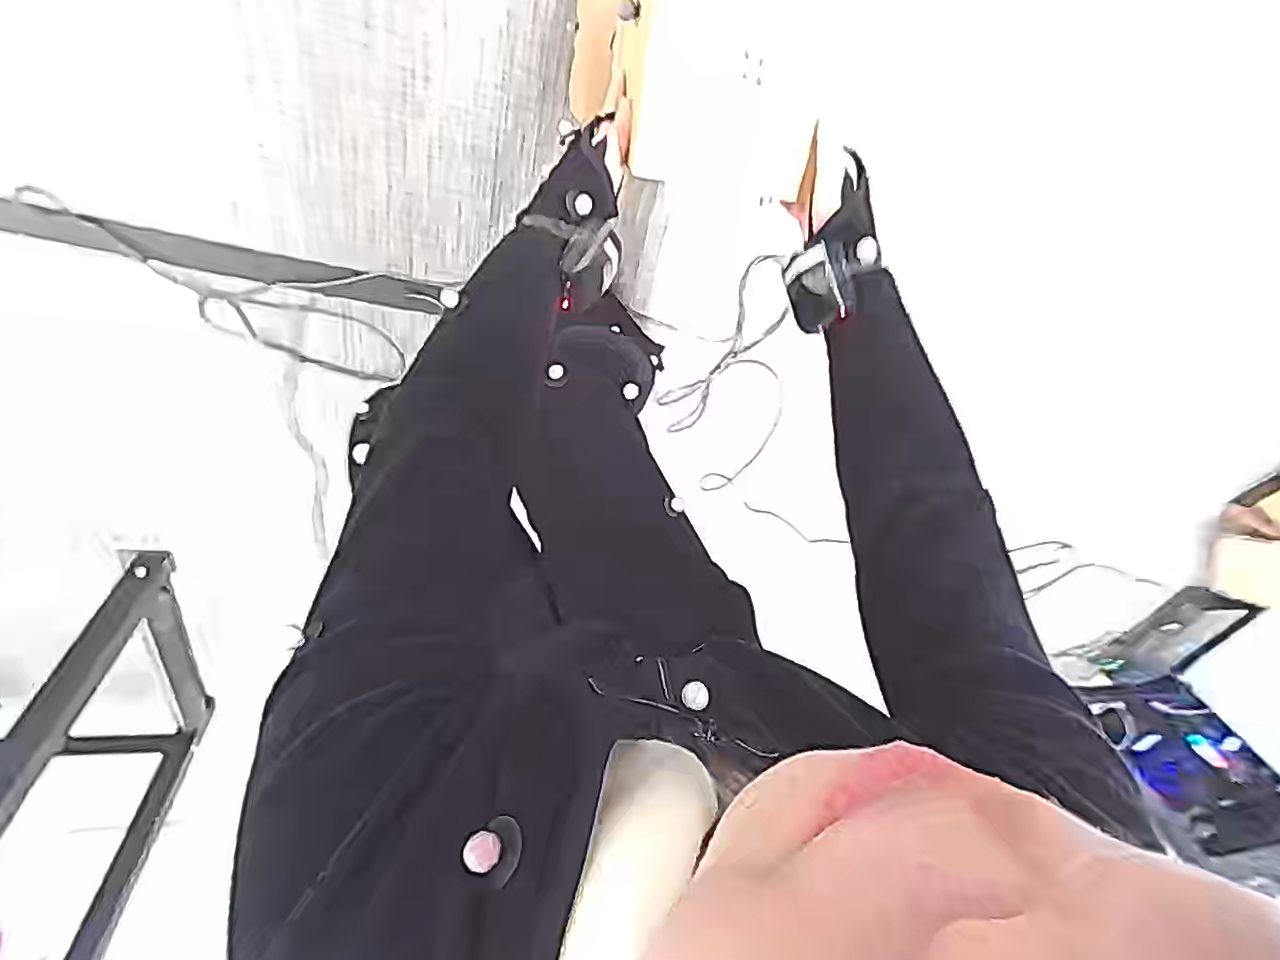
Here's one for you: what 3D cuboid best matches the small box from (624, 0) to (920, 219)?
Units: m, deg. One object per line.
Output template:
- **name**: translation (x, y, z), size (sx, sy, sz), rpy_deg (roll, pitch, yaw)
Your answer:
- **small box**: translation (0.100, -0.320, 0.443), size (0.168, 0.176, 0.179), rpy_deg (-13, 115, -29)
